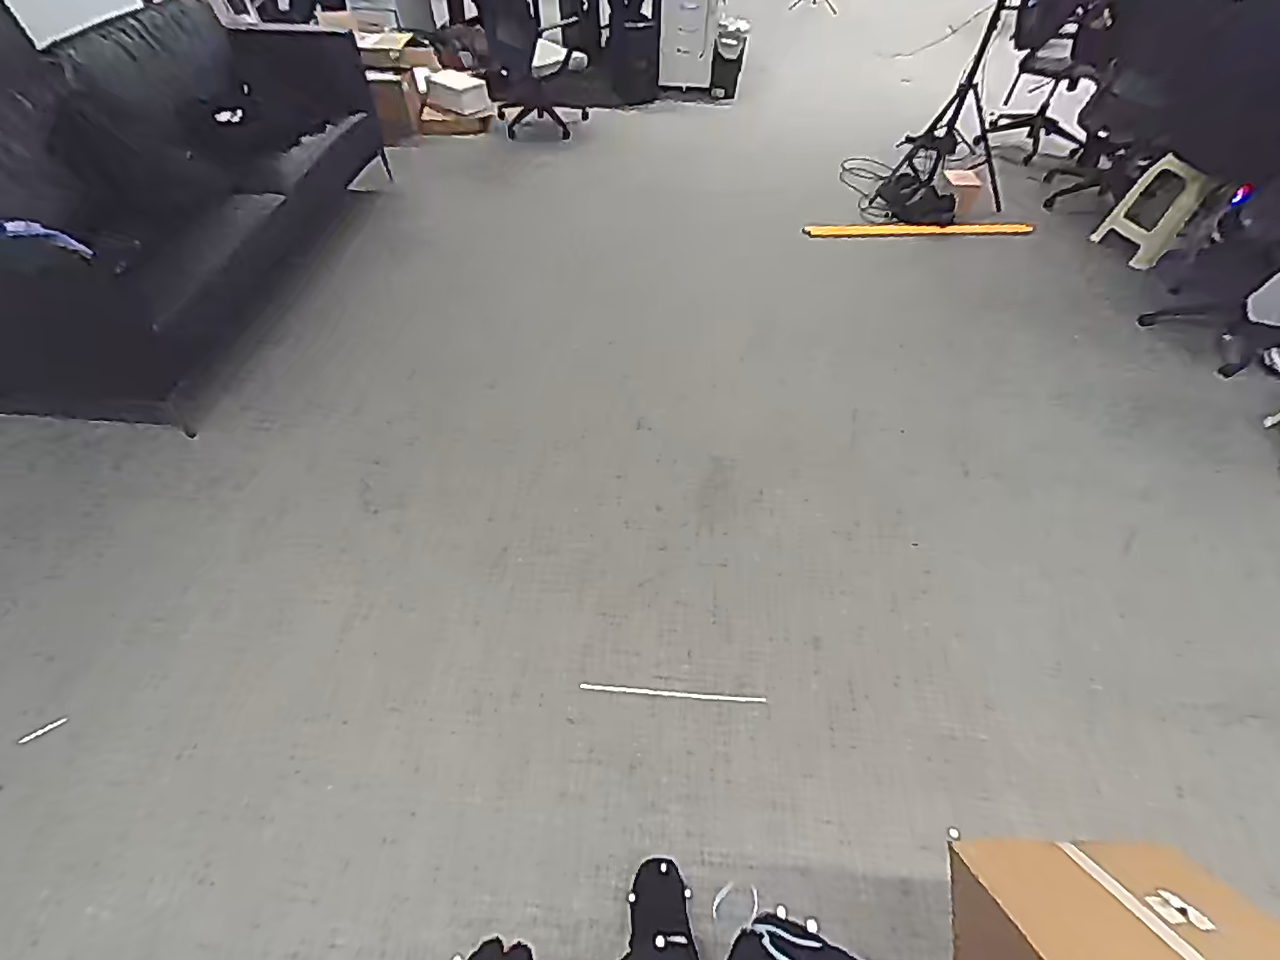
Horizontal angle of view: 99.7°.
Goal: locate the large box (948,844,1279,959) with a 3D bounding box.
[{"bbox_3d":[0.600,0.683,0.589,0.320,0.408,0.320,0,87,3],"label":"large box"}]
